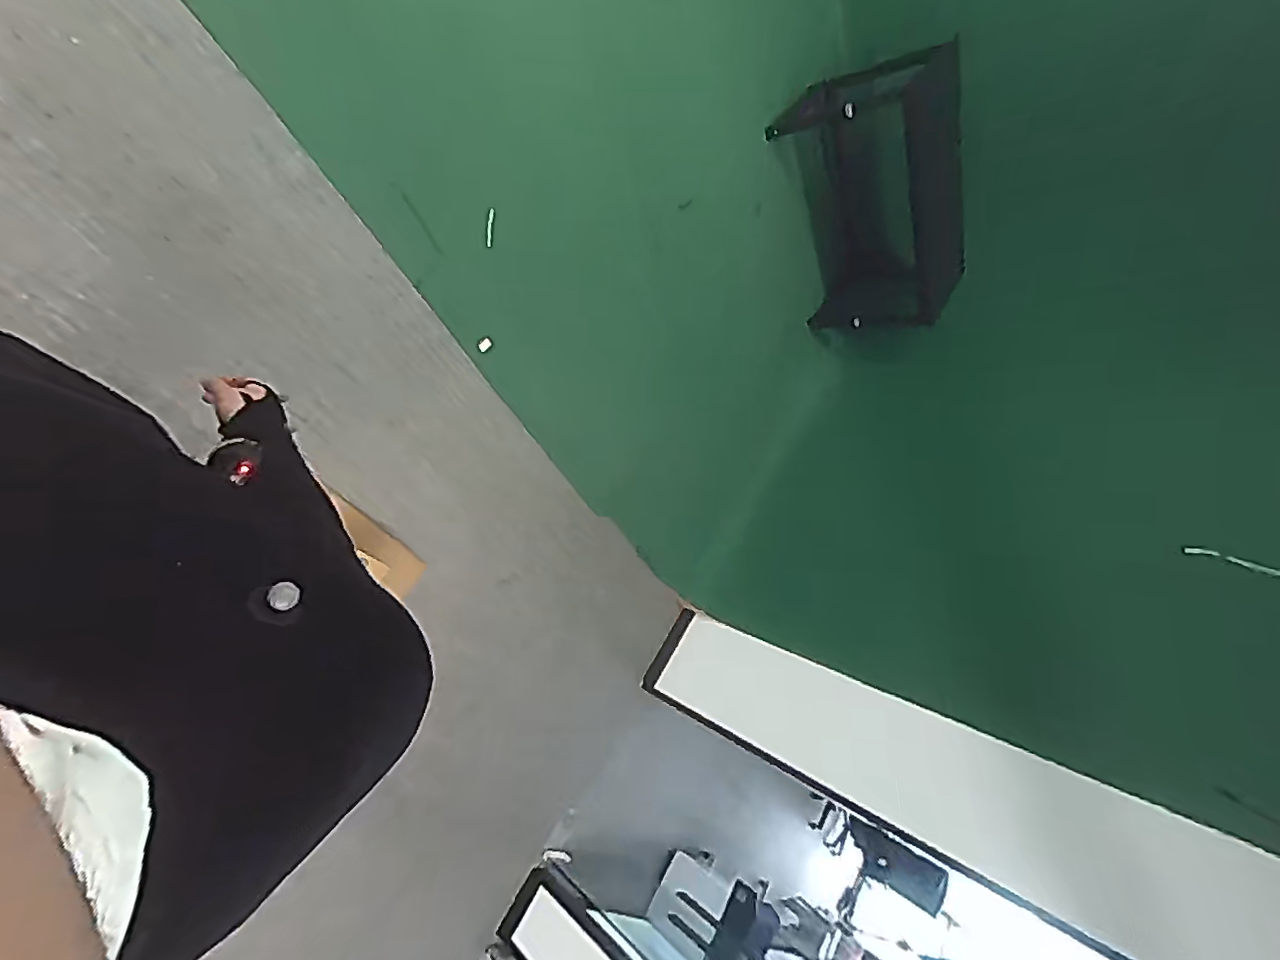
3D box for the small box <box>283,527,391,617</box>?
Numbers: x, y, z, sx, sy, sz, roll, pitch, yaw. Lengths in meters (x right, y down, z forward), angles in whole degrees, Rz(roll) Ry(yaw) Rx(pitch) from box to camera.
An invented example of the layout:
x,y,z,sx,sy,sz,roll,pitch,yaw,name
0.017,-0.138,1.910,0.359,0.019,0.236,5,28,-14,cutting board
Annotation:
x,y,z,sx,sy,sz,roll,pitch,yaw,name
-0.848,0.251,1.511,0.168,0.176,0.179,-59,136,-19,small box
